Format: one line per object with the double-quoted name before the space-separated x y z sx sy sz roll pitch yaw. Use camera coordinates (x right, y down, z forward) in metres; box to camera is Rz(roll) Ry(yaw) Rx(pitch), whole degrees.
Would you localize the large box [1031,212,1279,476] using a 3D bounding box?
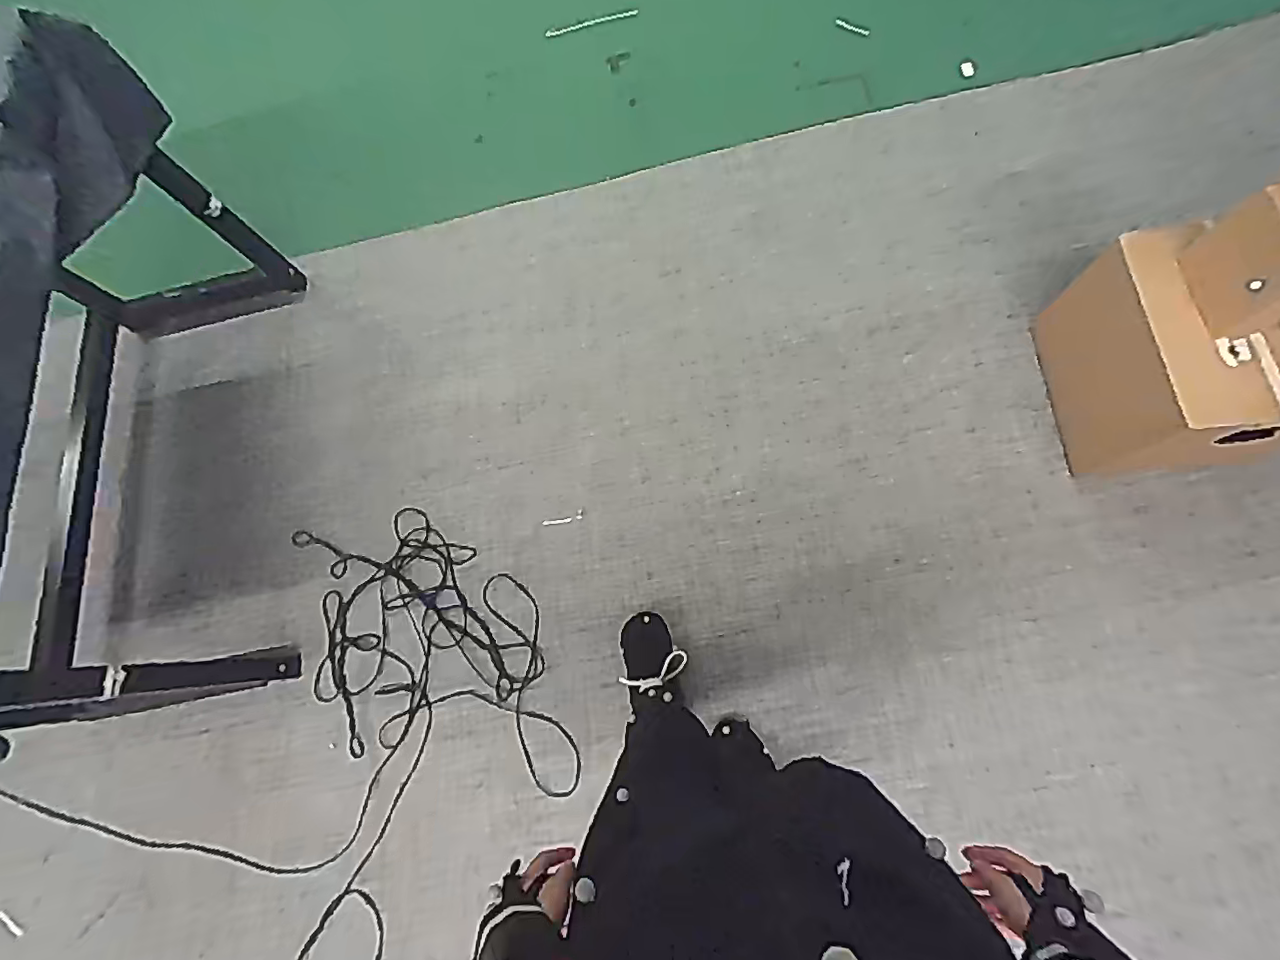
"large box" 1.086 -0.252 1.097 0.320 0.320 0.408 -6 74 7
